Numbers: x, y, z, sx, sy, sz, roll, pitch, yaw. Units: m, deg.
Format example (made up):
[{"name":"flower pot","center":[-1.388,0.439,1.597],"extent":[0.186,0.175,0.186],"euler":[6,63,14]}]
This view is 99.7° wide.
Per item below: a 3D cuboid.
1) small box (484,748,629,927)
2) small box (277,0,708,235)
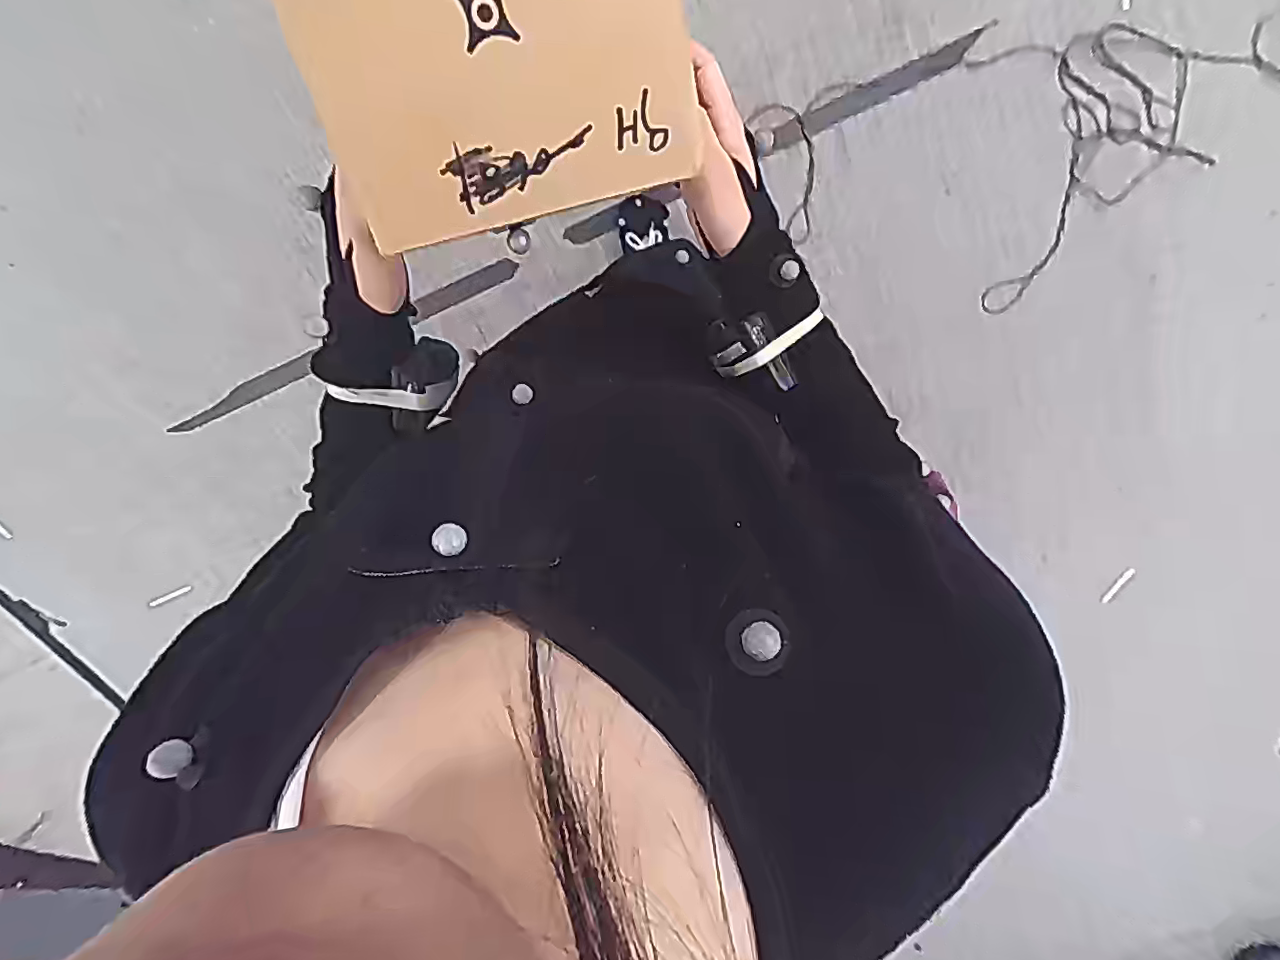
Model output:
[{"name":"small box","center":[-0.128,0.583,0.898],"extent":[0.179,0.176,0.168],"euler":[-21,110,7]},{"name":"small box","center":[-0.074,-0.243,0.288],"extent":[0.168,0.176,0.179],"euler":[-15,117,1]}]
